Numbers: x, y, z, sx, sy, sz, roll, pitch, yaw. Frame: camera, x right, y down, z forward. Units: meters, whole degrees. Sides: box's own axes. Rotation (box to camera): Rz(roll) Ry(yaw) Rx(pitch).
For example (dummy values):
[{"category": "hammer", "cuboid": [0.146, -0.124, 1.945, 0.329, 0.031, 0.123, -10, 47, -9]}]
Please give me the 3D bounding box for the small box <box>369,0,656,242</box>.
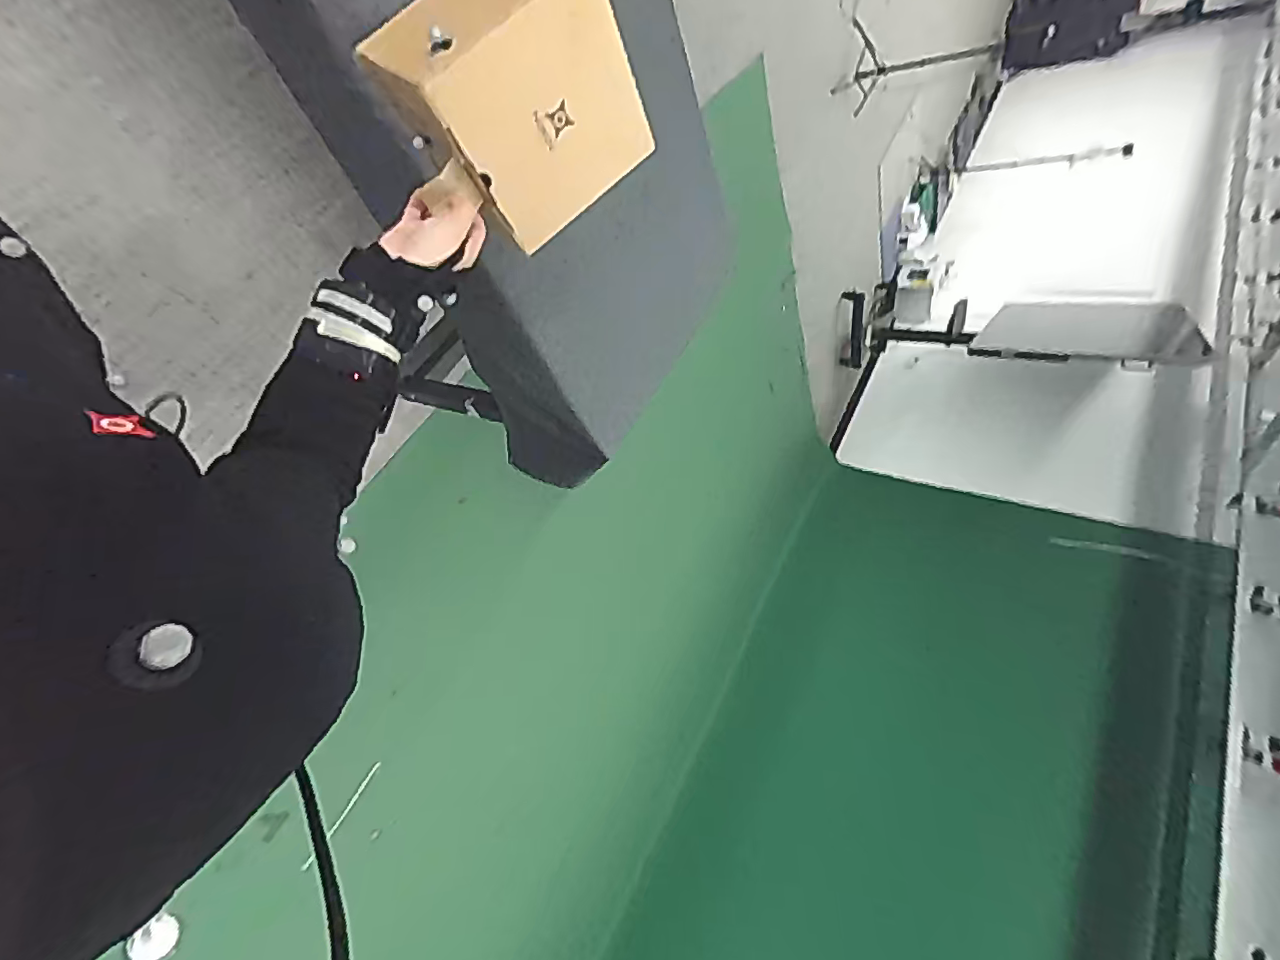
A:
[{"category": "small box", "cuboid": [-0.119, -0.376, 0.518, 0.179, 0.176, 0.168, -42, 148, -3]}]
